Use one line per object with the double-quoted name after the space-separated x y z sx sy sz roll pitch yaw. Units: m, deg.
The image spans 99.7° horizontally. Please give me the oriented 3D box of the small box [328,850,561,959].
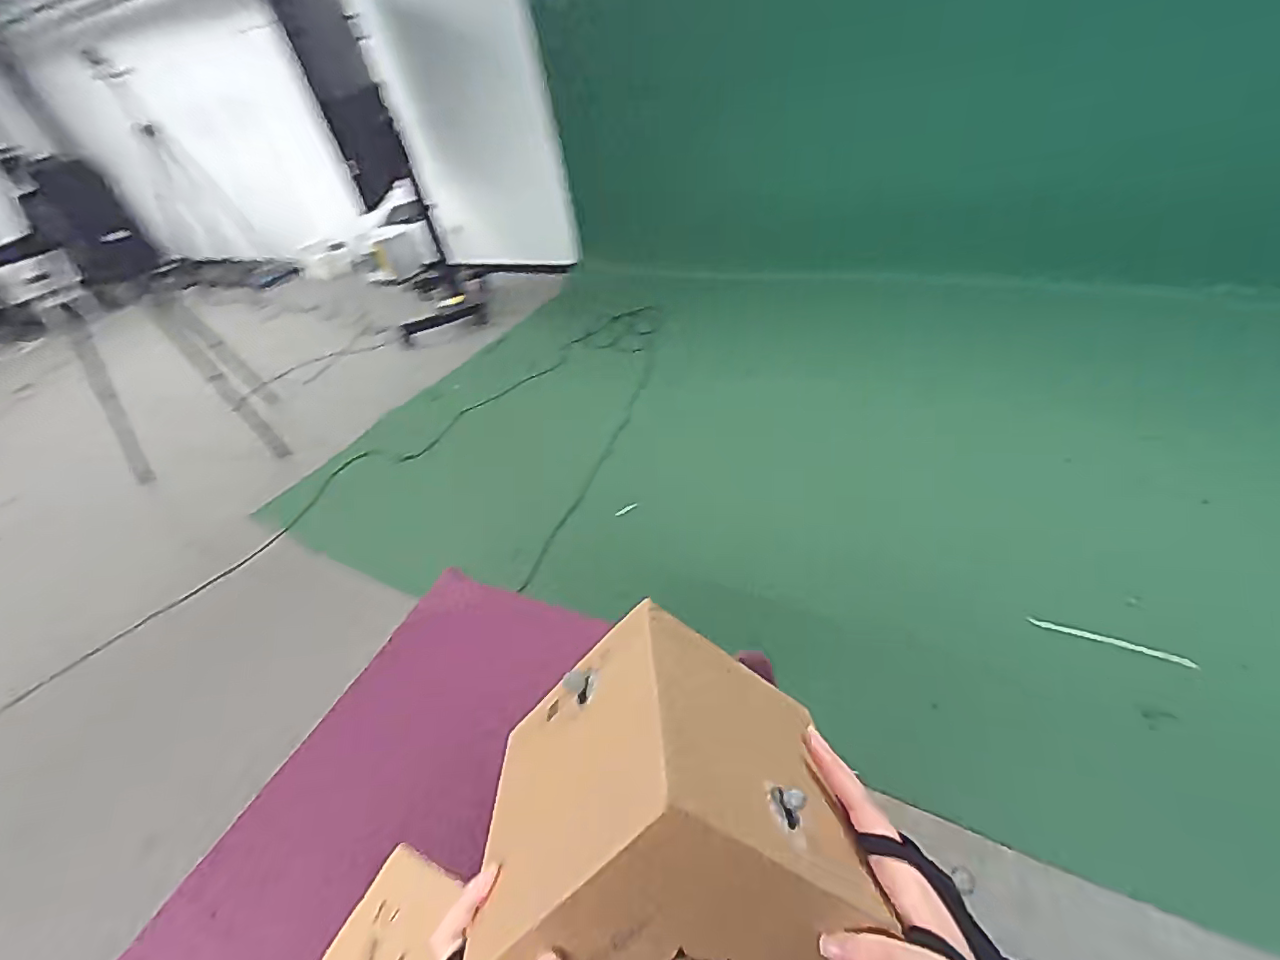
-0.204 0.526 0.550 0.179 0.176 0.168 10 44 26 "small box"
